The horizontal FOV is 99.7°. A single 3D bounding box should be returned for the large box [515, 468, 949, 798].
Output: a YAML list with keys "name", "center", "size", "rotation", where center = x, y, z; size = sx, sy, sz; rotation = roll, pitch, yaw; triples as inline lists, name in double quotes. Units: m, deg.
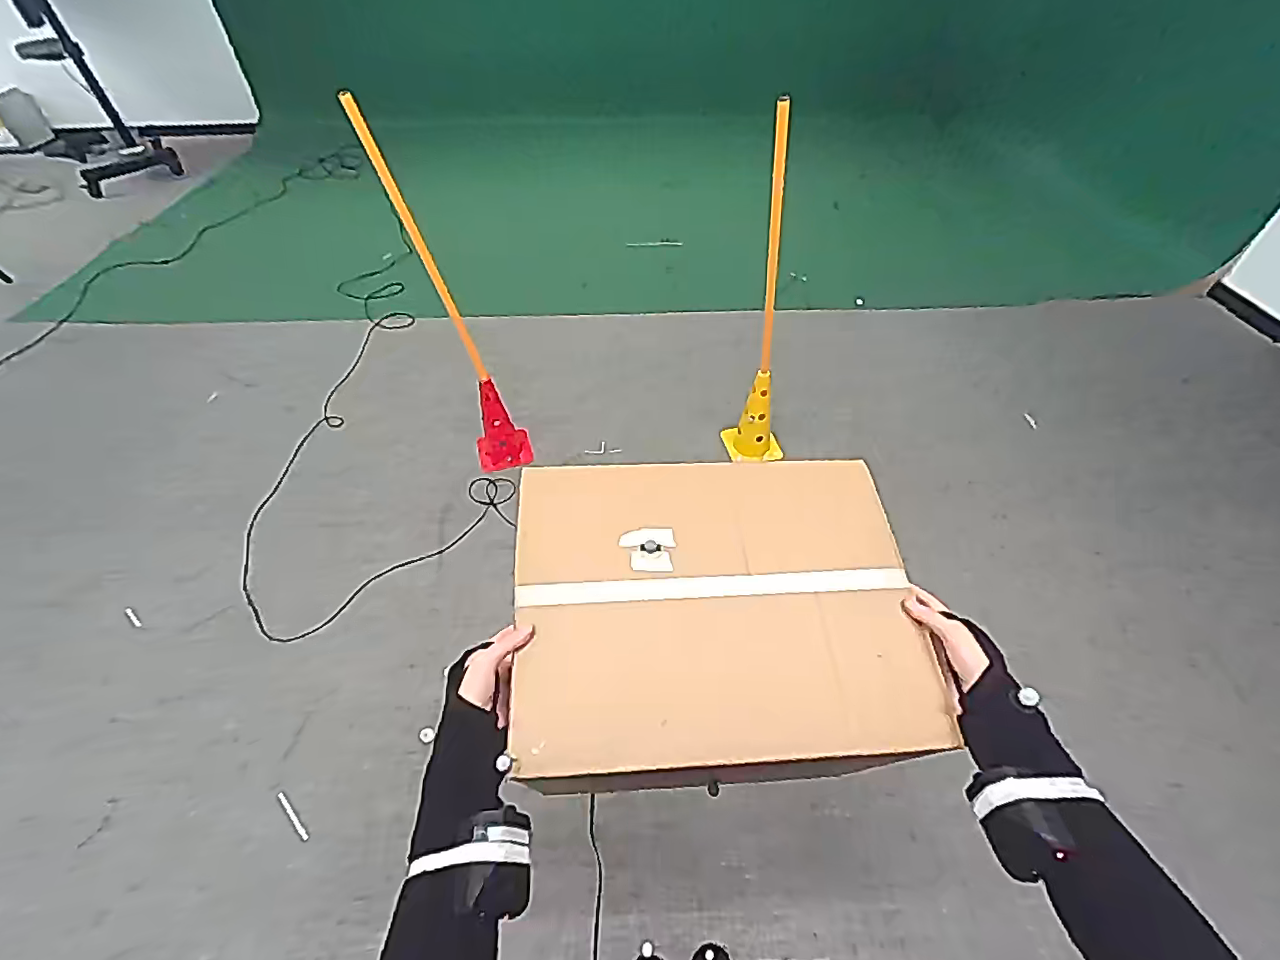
- name: "large box"
  center: [0.073, 0.204, 0.684]
  size: [0.408, 0.320, 0.320]
  rotation: [-2, 56, -4]
